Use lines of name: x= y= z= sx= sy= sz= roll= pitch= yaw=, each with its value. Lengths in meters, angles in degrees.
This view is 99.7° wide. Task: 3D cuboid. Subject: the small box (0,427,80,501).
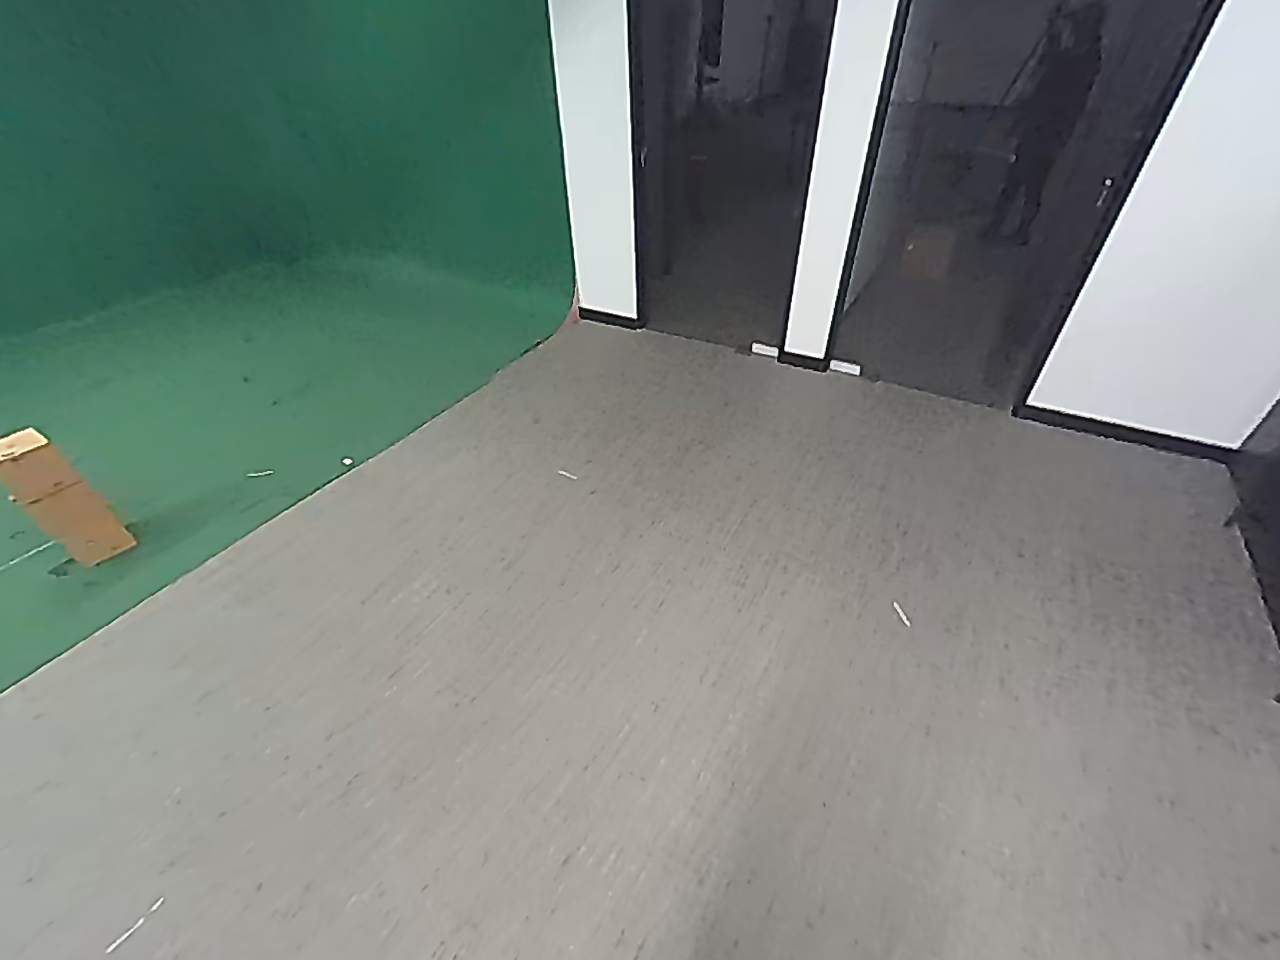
small box: x=-2.085 y=-0.053 z=1.843 sx=0.179 sy=0.176 sz=0.168 roll=22 pitch=44 yaw=27

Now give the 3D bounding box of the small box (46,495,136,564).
small box: x=-2.086 y=0.194 z=2.061 sx=0.179 sy=0.176 sz=0.168 roll=26 pitch=47 yaw=29
